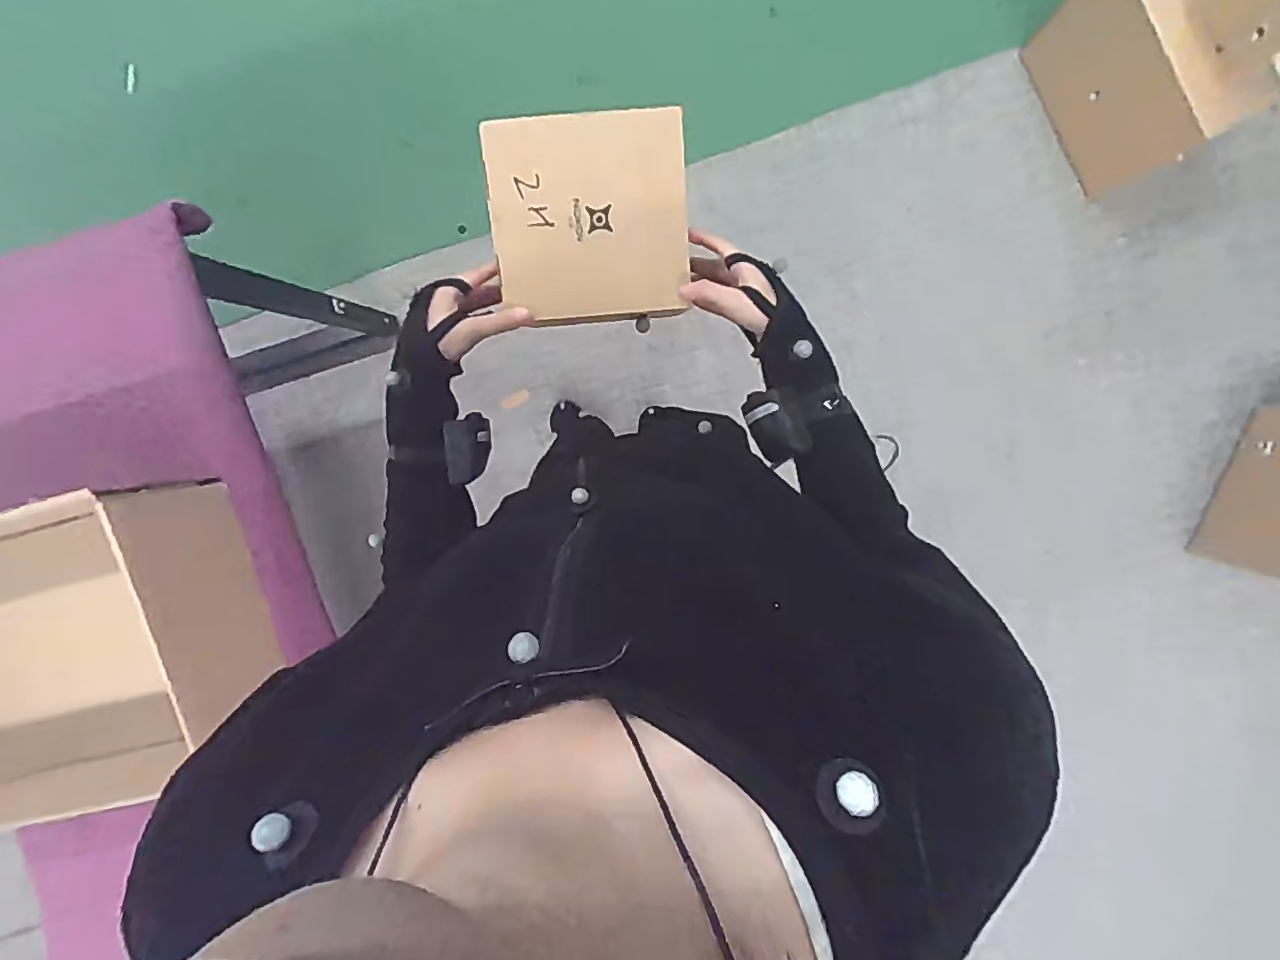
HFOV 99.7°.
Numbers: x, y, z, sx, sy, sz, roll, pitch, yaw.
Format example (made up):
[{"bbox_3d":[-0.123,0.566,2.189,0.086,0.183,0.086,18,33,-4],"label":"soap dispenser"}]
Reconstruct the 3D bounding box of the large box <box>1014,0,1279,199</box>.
[{"bbox_3d":[1.114,-0.909,1.149,0.320,0.320,0.408,-30,93,7],"label":"large box"}]

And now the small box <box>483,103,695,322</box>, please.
[{"bbox_3d":[-0.044,-0.252,0.548,0.179,0.176,0.168,-4,104,0],"label":"small box"}]
